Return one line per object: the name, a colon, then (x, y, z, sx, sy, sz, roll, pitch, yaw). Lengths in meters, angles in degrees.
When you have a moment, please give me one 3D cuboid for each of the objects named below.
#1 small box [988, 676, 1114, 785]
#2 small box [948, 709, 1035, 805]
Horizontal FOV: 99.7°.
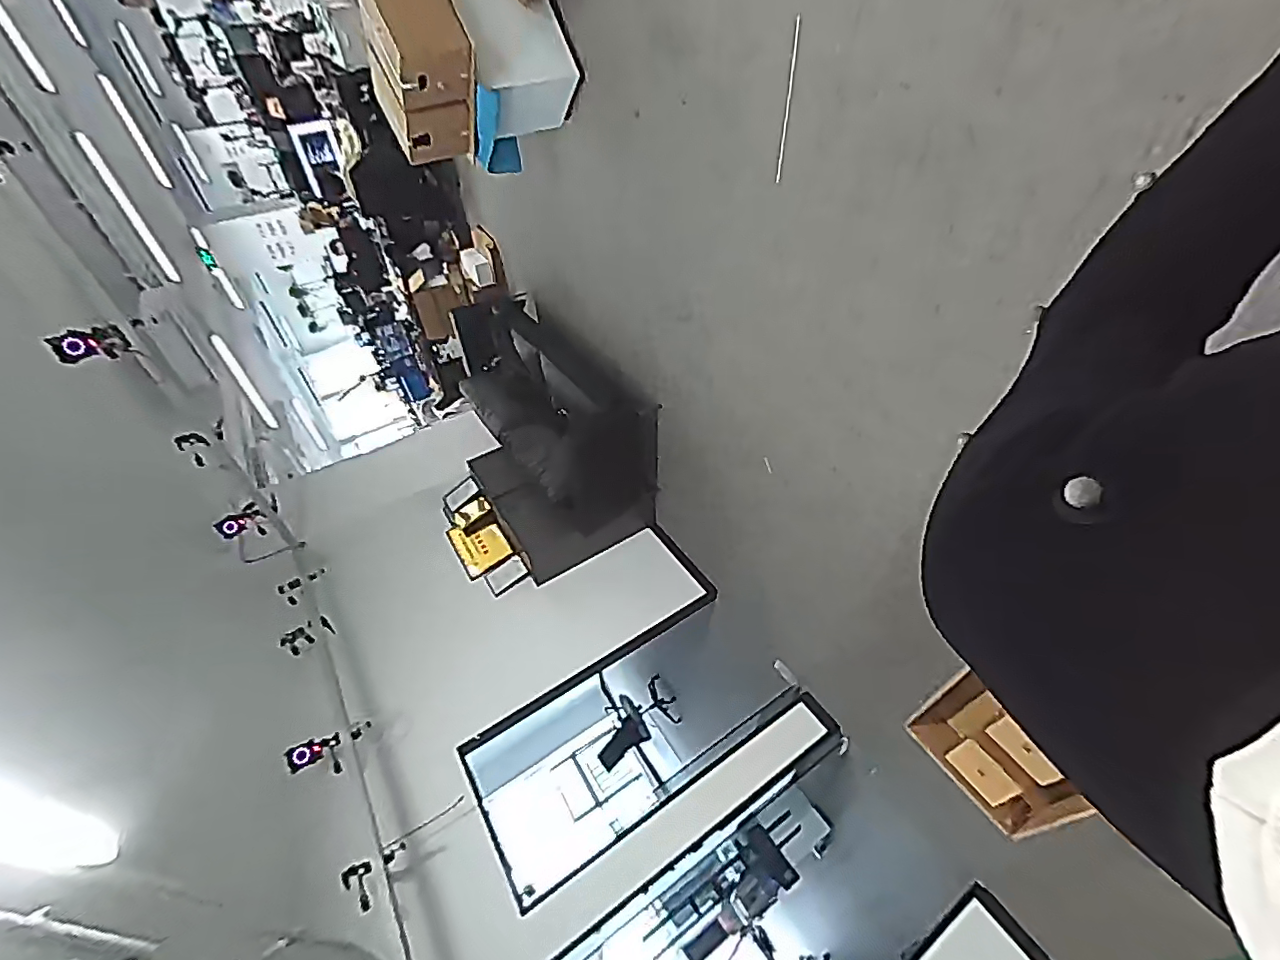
small box: (1.056, 0.642, 1.392, 0.168, 0.176, 0.179, 49, 155, 34)
small box: (1.060, 0.810, 1.586, 0.168, 0.176, 0.179, 49, 153, 35)
